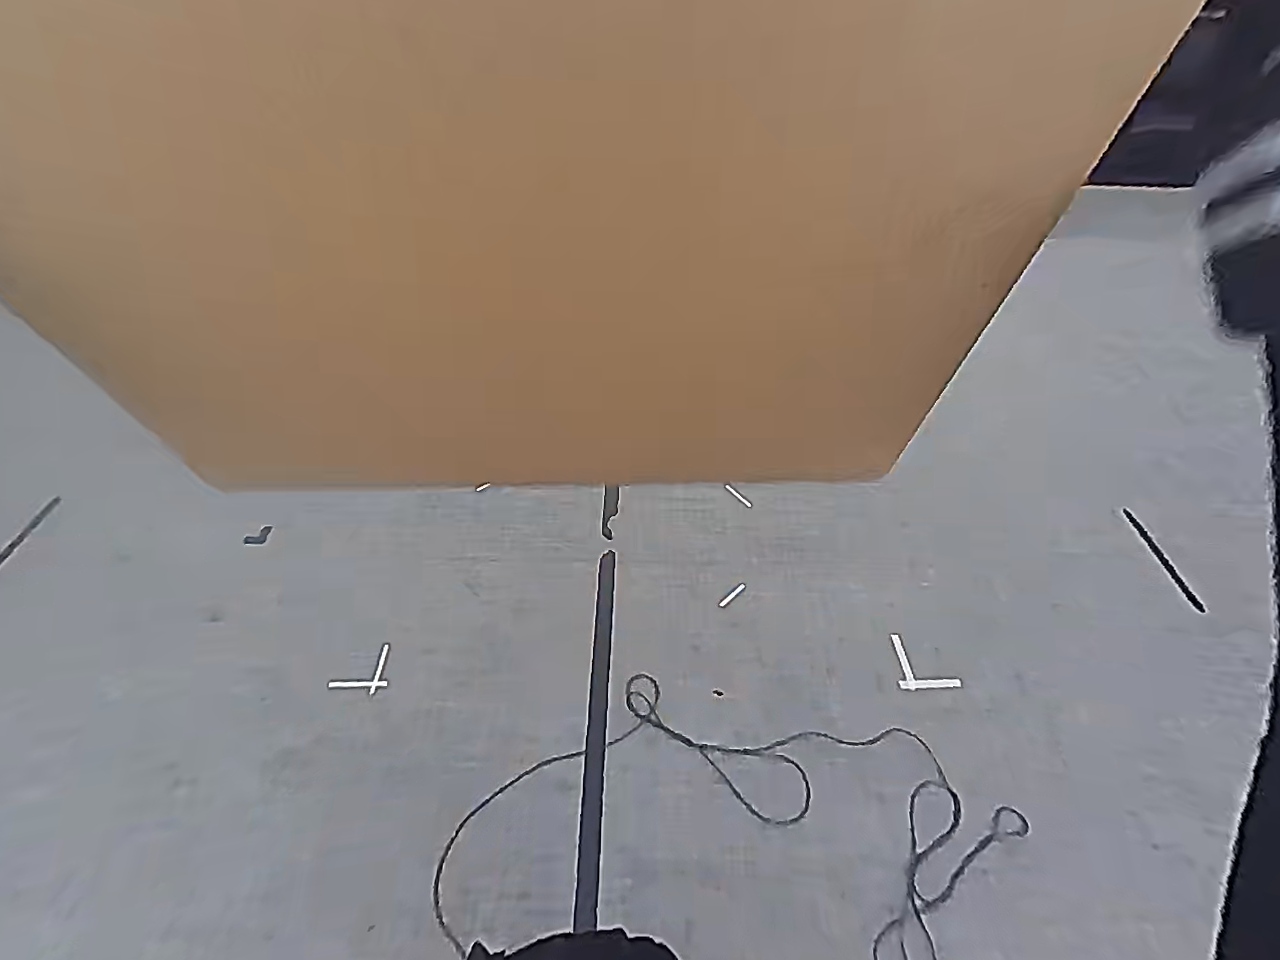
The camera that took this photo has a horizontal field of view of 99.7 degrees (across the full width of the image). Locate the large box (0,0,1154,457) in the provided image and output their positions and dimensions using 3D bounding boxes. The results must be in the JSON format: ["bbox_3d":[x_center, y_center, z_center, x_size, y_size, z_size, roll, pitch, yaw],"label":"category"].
[{"bbox_3d":[-0.051,-0.223,0.286,0.408,0.320,0.320,0,55,-3],"label":"large box"}]
